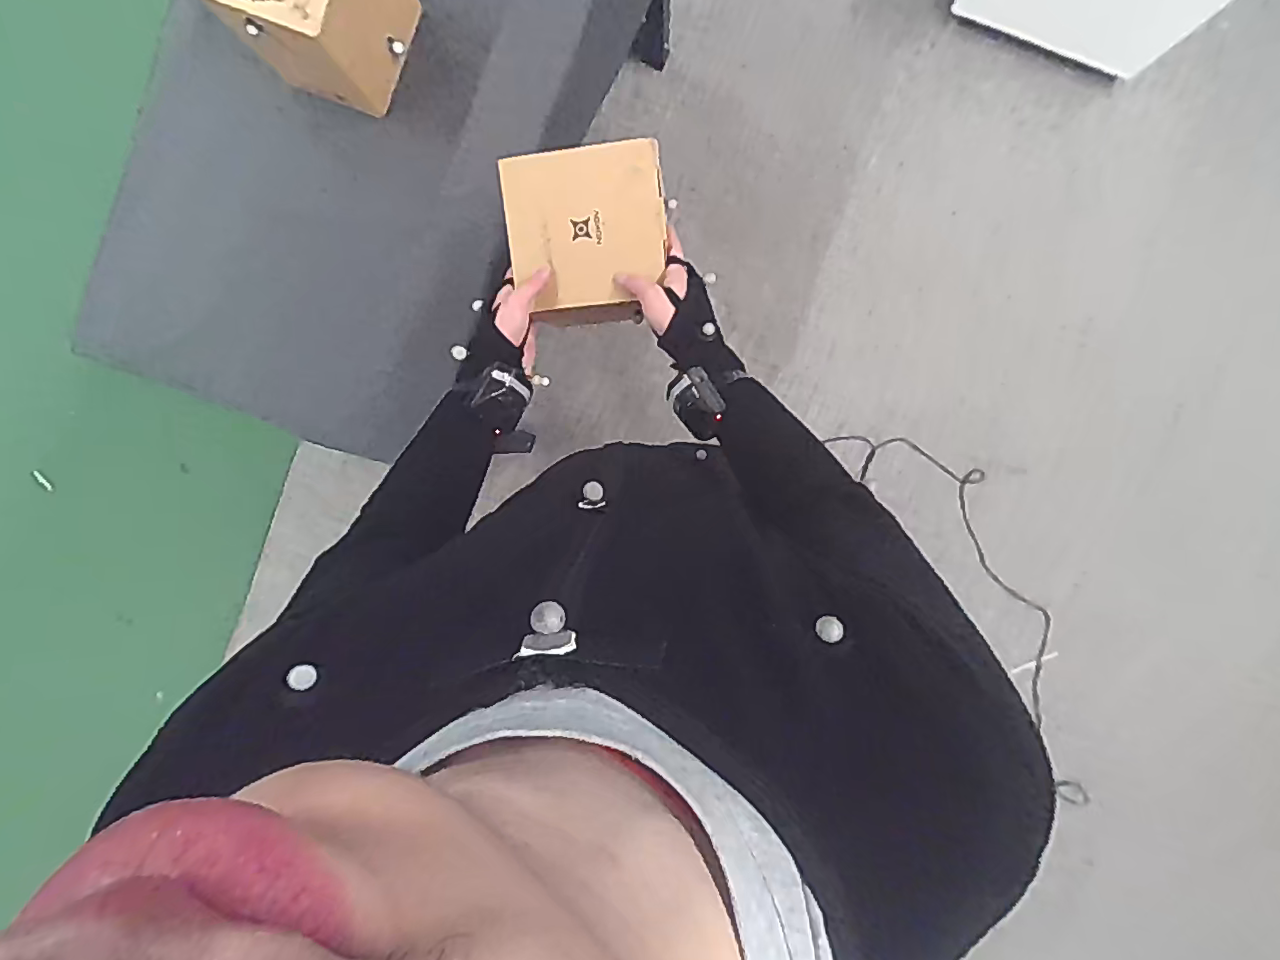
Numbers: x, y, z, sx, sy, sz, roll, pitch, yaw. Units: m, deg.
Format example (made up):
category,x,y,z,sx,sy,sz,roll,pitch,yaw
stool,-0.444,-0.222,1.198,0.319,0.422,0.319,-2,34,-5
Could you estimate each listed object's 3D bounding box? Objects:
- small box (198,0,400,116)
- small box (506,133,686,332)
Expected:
category,x,y,z,sx,sy,sz,roll,pitch,yaw
small box,-0.441,-0.632,0.704,0.168,0.176,0.179,20,92,-1
small box,-0.042,-0.279,0.648,0.179,0.176,0.168,-7,98,5
